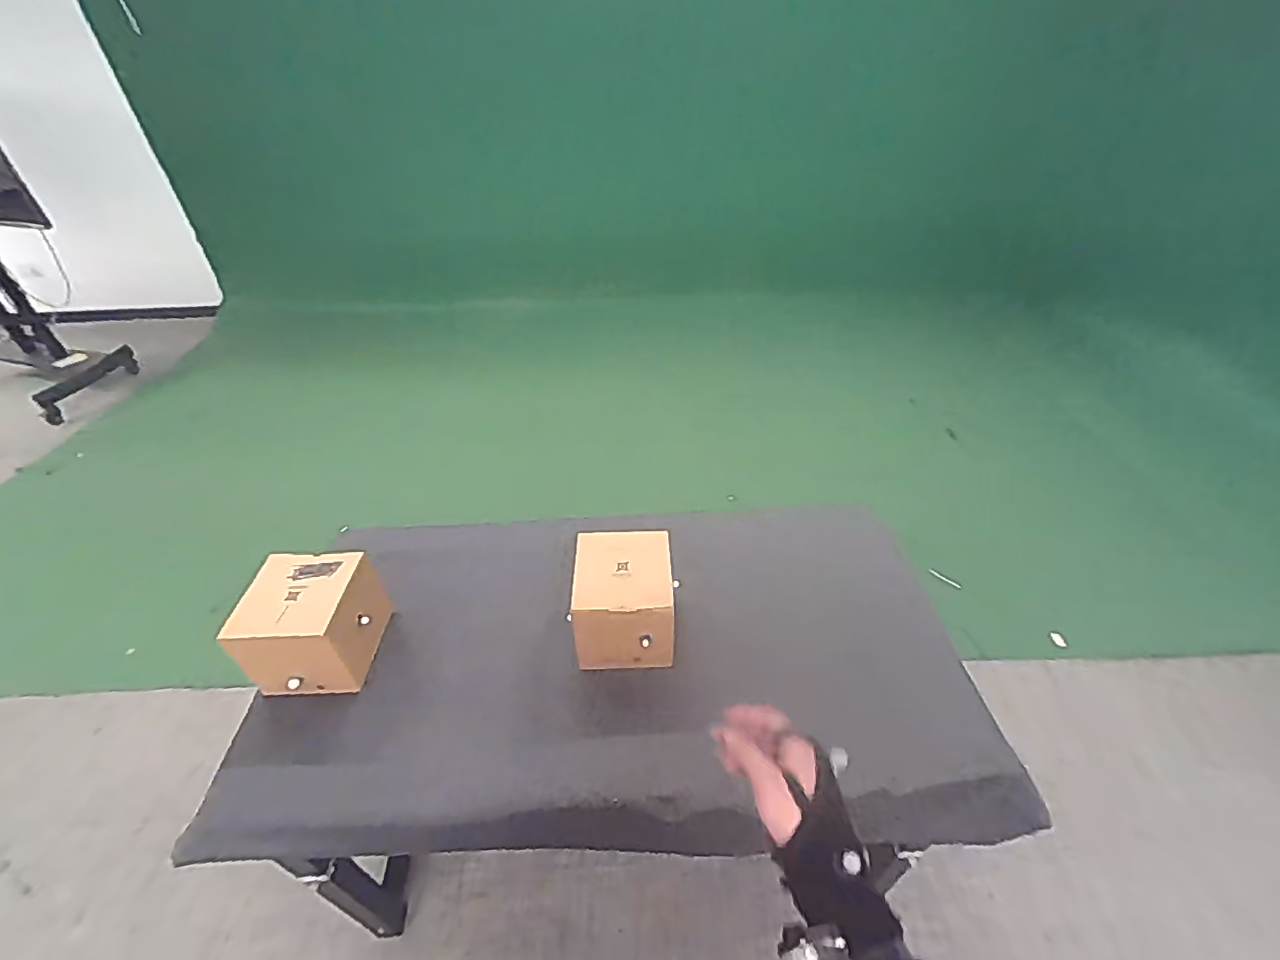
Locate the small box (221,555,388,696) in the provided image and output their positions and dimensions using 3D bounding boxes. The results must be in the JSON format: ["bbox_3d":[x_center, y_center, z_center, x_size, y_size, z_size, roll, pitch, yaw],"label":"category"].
[{"bbox_3d":[-0.562,0.251,0.940,0.168,0.176,0.179,-2,40,-1],"label":"small box"}]

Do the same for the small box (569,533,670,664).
[{"bbox_3d":[-0.033,0.217,0.974,0.168,0.176,0.179,-1,39,-2],"label":"small box"}]
